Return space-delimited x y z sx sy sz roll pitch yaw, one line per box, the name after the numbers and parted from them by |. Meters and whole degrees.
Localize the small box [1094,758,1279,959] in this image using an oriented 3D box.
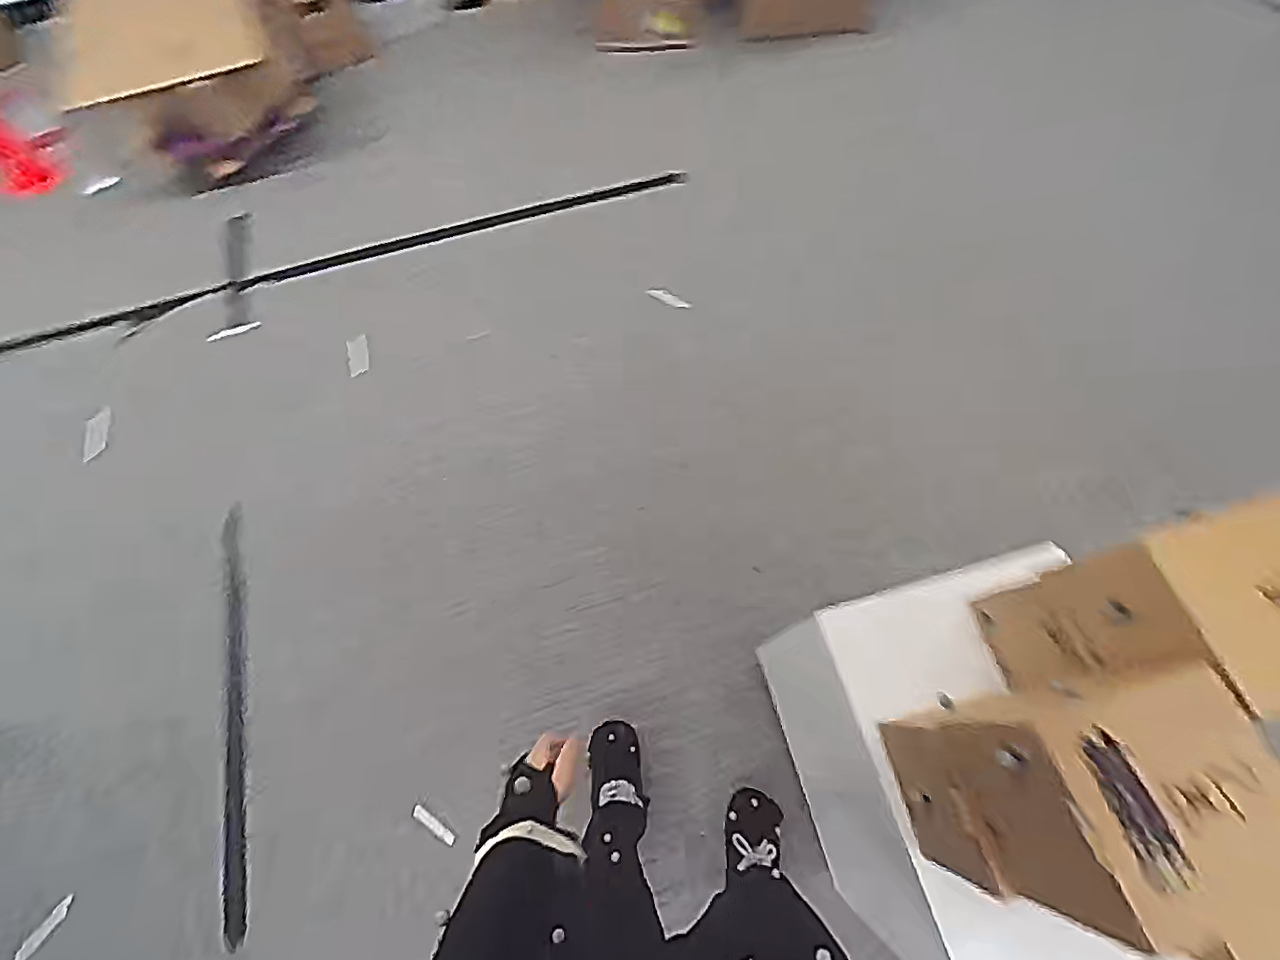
0.639 0.428 0.612 0.179 0.176 0.168 -15 66 -2 | small box

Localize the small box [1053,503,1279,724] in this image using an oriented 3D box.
0.576 0.139 0.553 0.179 0.176 0.168 -15 69 -4 | small box

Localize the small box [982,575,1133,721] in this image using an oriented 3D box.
0.586 0.206 0.701 0.179 0.176 0.168 -13 69 -3 | small box

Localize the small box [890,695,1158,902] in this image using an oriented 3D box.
0.426 0.362 0.644 0.179 0.176 0.168 -12 68 -3 | small box
